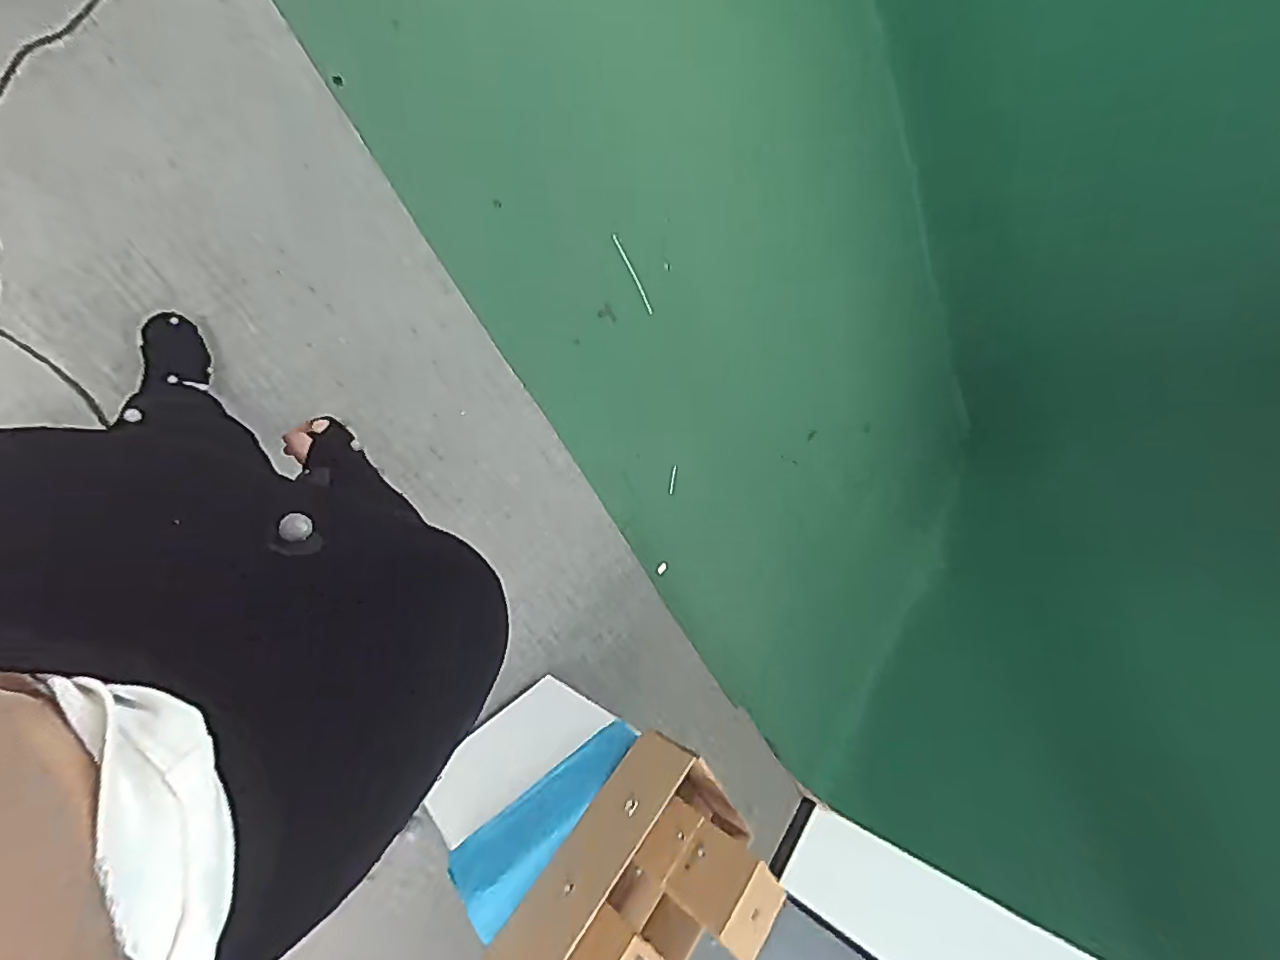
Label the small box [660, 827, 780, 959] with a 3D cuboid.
[{"bbox_3d":[0.177,0.920,1.200,0.168,0.176,0.179,-45,121,-28],"label":"small box"}]

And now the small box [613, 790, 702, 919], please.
[{"bbox_3d":[0.066,0.903,1.319,0.168,0.176,0.179,-45,122,-29],"label":"small box"}]
